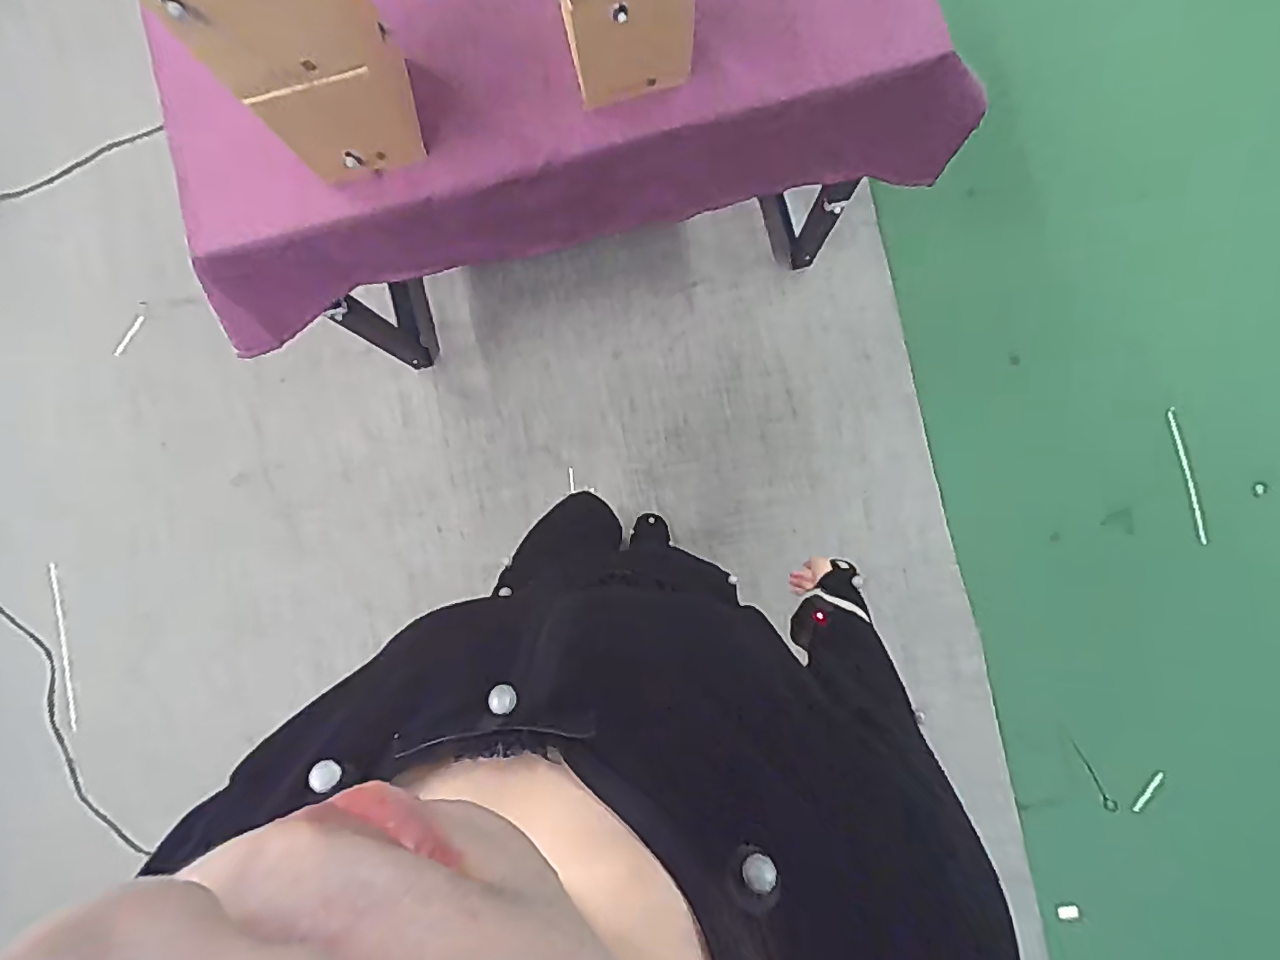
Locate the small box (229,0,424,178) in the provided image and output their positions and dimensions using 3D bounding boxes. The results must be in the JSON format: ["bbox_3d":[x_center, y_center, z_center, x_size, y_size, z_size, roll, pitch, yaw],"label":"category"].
[{"bbox_3d":[-0.428,-0.570,0.760,0.168,0.176,0.179,-13,87,2],"label":"small box"}]

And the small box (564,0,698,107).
[{"bbox_3d":[-0.021,-0.674,0.751,0.168,0.176,0.179,-14,85,3],"label":"small box"}]
